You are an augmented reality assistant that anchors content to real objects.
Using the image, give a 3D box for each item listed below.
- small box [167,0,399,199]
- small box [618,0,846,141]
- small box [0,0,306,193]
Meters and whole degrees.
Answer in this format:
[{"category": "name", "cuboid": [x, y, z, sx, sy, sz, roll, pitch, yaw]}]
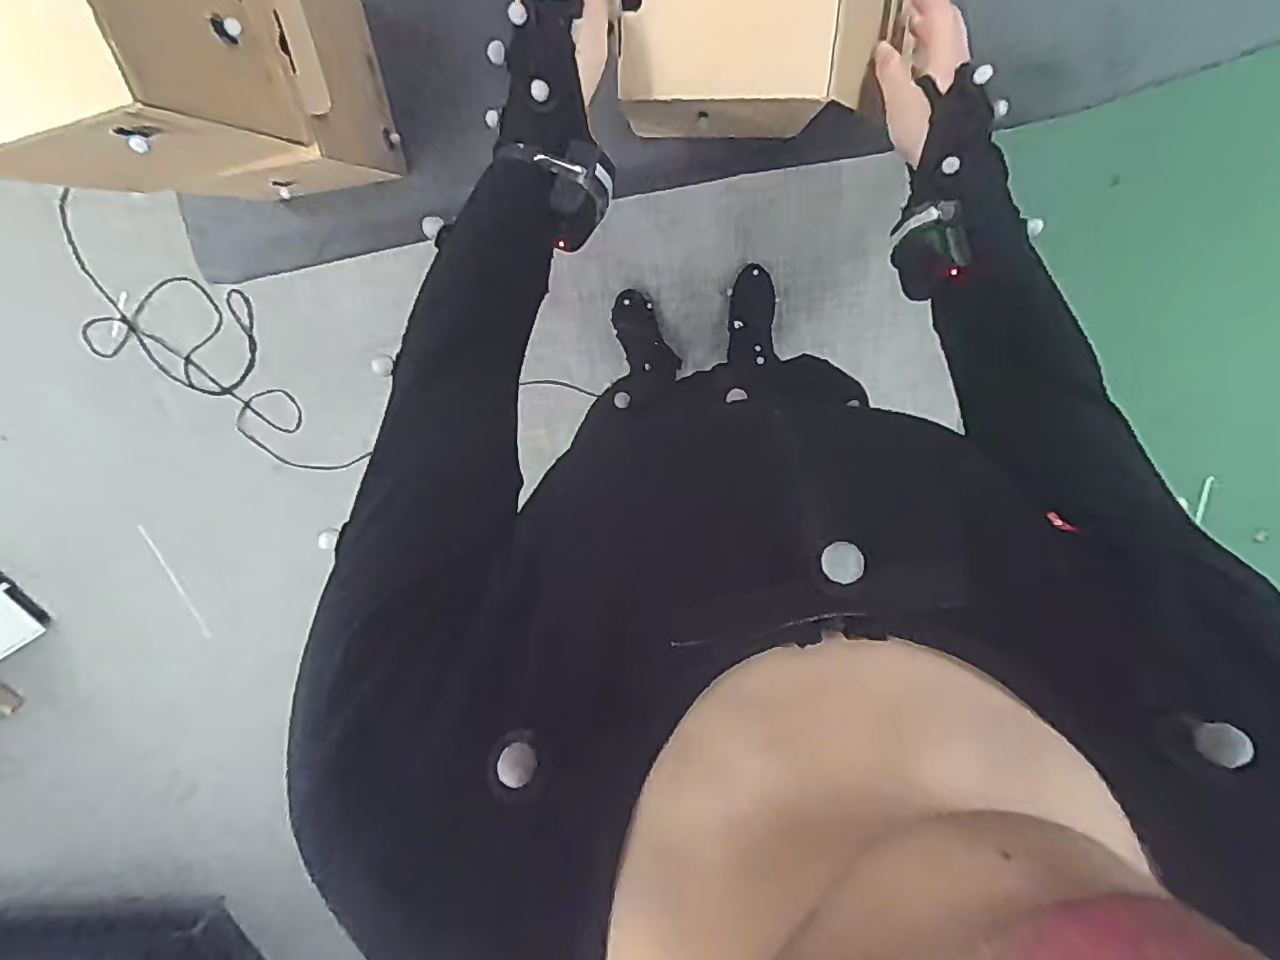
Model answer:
[{"category": "small box", "cuboid": [-0.366, -0.383, 0.534, 0.179, 0.176, 0.168, -5, 114, 8]}, {"category": "small box", "cuboid": [0.079, -0.411, 0.483, 0.179, 0.176, 0.168, 3, 115, 5]}, {"category": "small box", "cuboid": [-0.394, -0.318, 0.387, 0.179, 0.176, 0.168, -10, 113, 9]}]
